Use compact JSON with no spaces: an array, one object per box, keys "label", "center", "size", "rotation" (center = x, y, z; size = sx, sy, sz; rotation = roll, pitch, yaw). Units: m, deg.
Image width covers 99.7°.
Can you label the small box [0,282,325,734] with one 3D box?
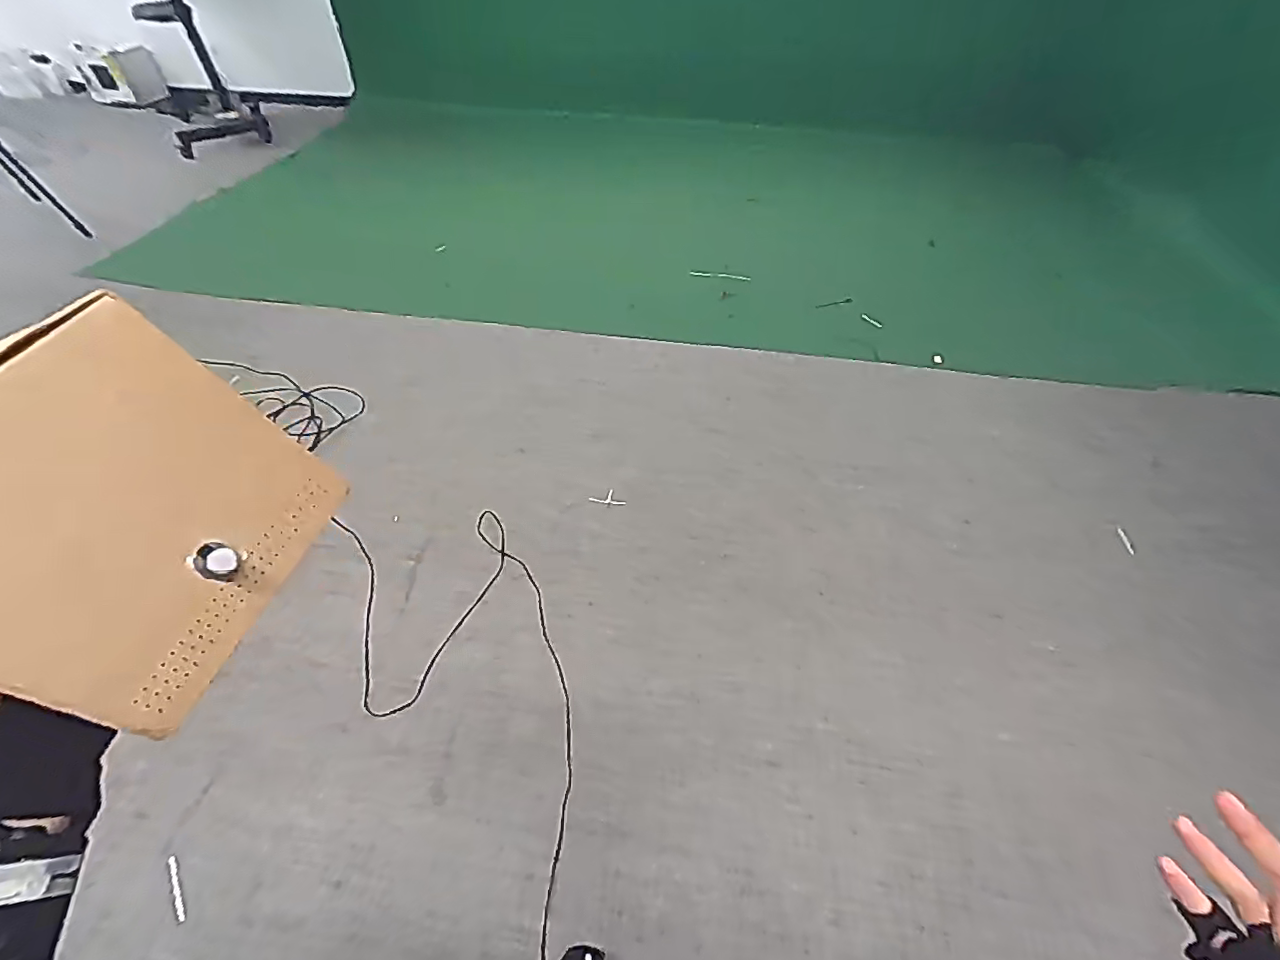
[{"label":"small box","center":[-0.328,0.020,0.315],"size":[0.168,0.176,0.179],"rotation":[-4,49,28]}]
